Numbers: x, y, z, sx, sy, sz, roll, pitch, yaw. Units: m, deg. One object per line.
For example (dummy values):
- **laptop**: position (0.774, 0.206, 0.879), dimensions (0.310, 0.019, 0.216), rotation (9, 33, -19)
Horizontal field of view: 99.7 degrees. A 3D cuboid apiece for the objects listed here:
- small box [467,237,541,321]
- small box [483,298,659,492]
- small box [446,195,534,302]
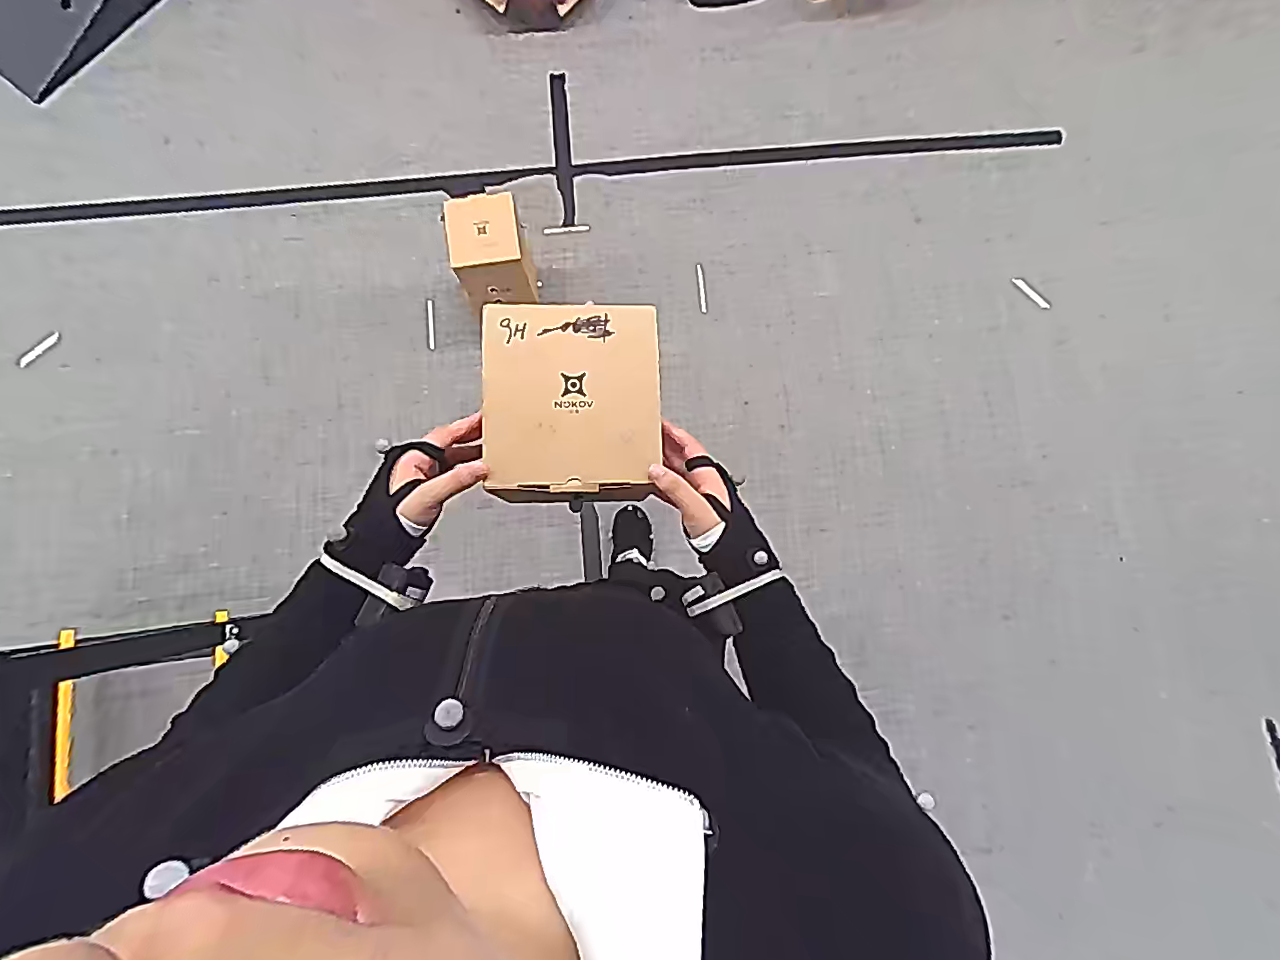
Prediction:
- **small box**: position (-0.379, -0.552, 1.512), dimensions (0.179, 0.176, 0.168), rotation (-7, 82, -3)
- **small box**: position (-0.069, -0.078, 0.583), dimensions (0.168, 0.176, 0.179), rotation (-1, 84, -5)
- **small box**: position (-0.369, -0.573, 1.351), dimensions (0.168, 0.176, 0.179), rotation (-10, 83, -2)
